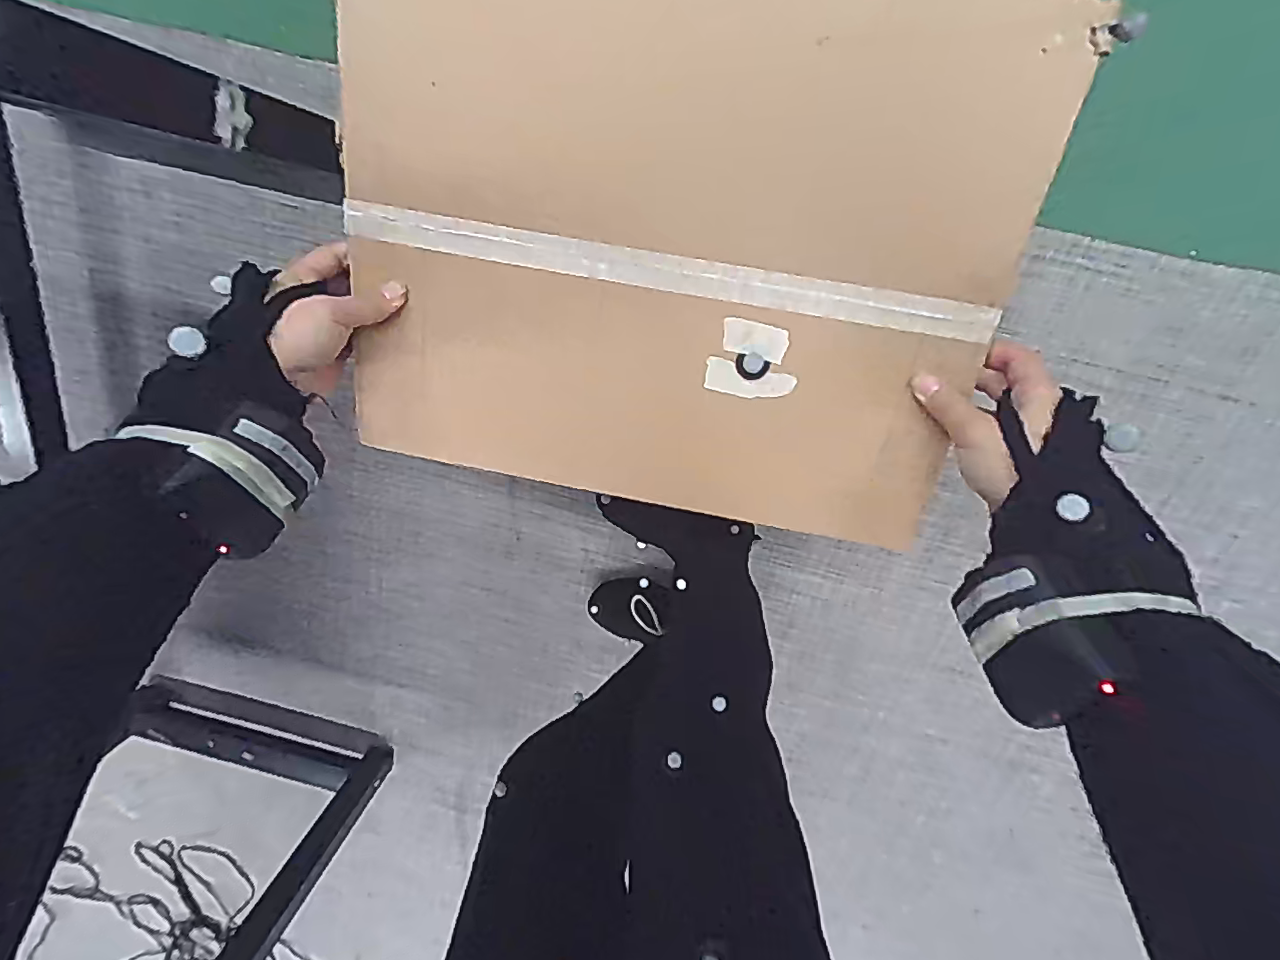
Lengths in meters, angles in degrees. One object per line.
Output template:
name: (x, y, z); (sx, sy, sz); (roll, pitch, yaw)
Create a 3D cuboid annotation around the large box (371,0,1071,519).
large box: (0.033, -0.192, 0.492); (0.408, 0.320, 0.320); (10, 112, 2)
